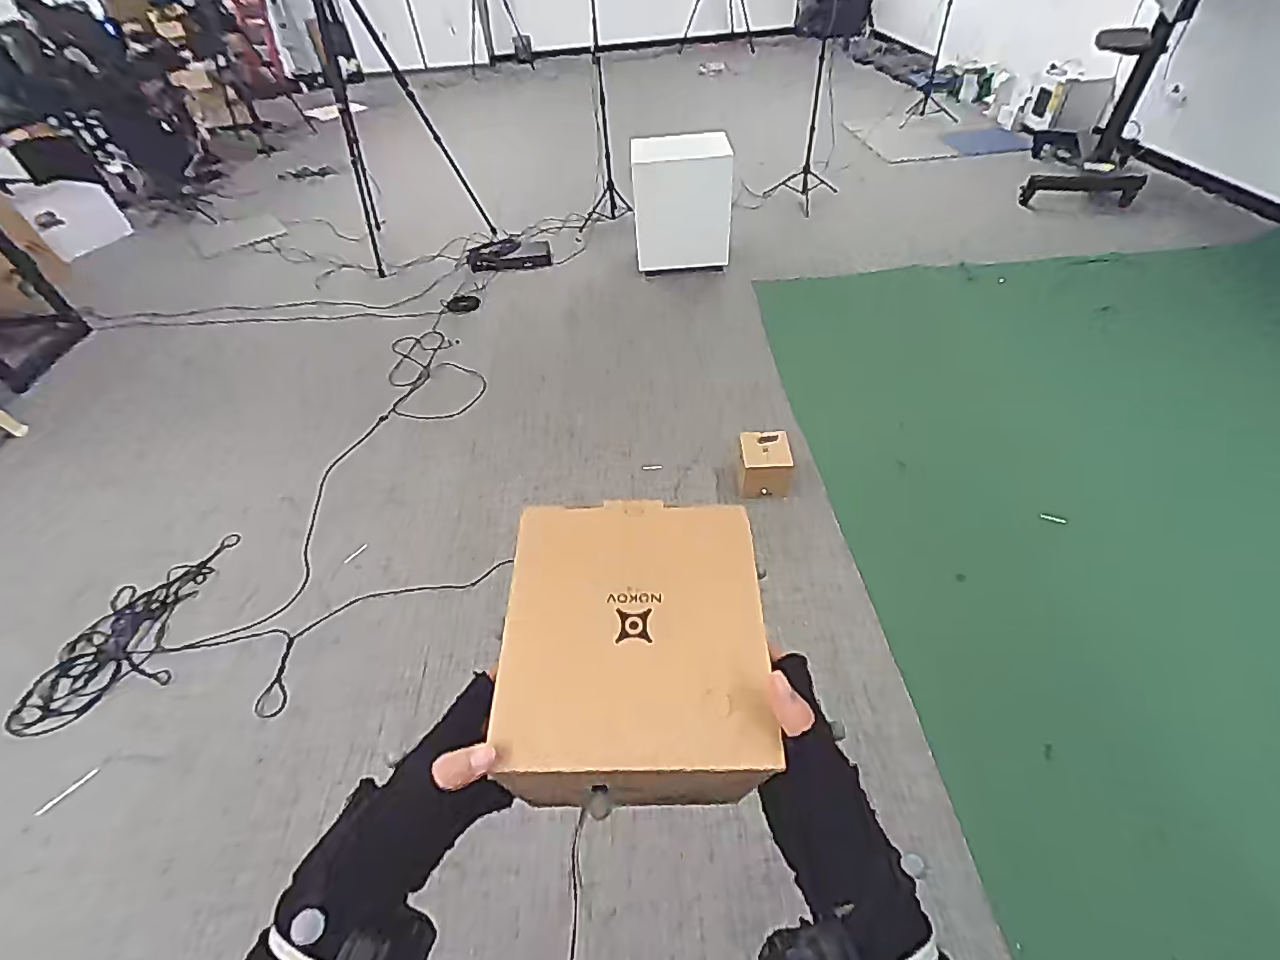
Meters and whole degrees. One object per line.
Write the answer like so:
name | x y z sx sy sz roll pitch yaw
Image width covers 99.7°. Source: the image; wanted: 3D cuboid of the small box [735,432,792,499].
small box | 0.436 -0.052 1.937 0.168 0.176 0.179 -2 48 3

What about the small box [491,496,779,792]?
small box | -0.002 0.131 0.413 0.168 0.176 0.179 -1 52 -1
